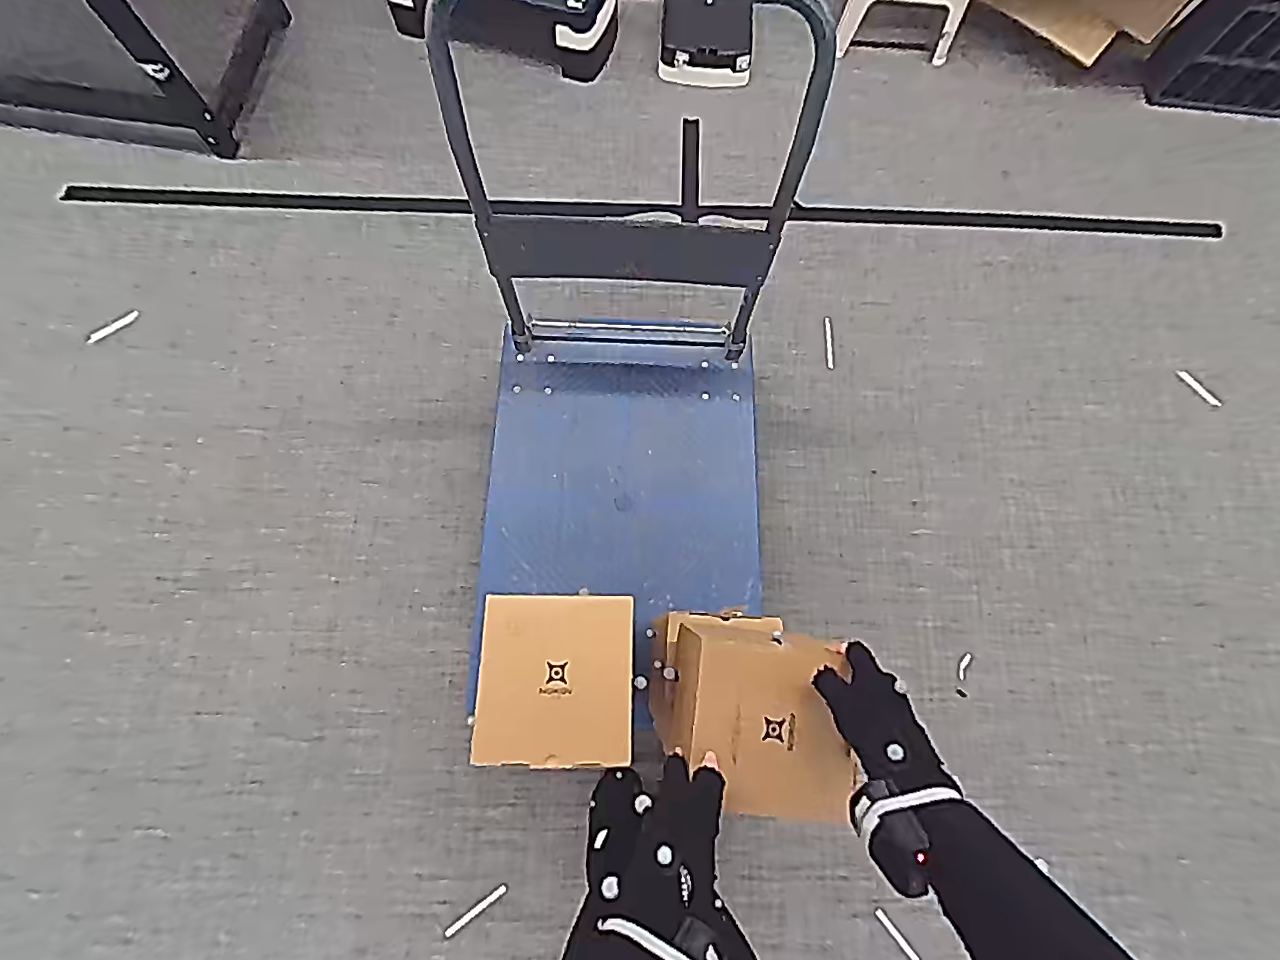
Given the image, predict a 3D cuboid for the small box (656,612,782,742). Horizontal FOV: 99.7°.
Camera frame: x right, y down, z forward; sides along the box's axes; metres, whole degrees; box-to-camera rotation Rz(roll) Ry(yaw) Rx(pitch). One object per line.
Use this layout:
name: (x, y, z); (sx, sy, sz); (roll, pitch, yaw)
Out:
small box: (0.113, 0.298, 0.820); (0.168, 0.176, 0.179); (4, 74, -1)

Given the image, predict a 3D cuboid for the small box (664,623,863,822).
small box: (0.133, 0.267, 0.632); (0.179, 0.176, 0.168); (8, 80, -3)

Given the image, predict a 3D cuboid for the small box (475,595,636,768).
small box: (-0.092, 0.237, 0.659); (0.168, 0.176, 0.179); (1, 74, -2)
